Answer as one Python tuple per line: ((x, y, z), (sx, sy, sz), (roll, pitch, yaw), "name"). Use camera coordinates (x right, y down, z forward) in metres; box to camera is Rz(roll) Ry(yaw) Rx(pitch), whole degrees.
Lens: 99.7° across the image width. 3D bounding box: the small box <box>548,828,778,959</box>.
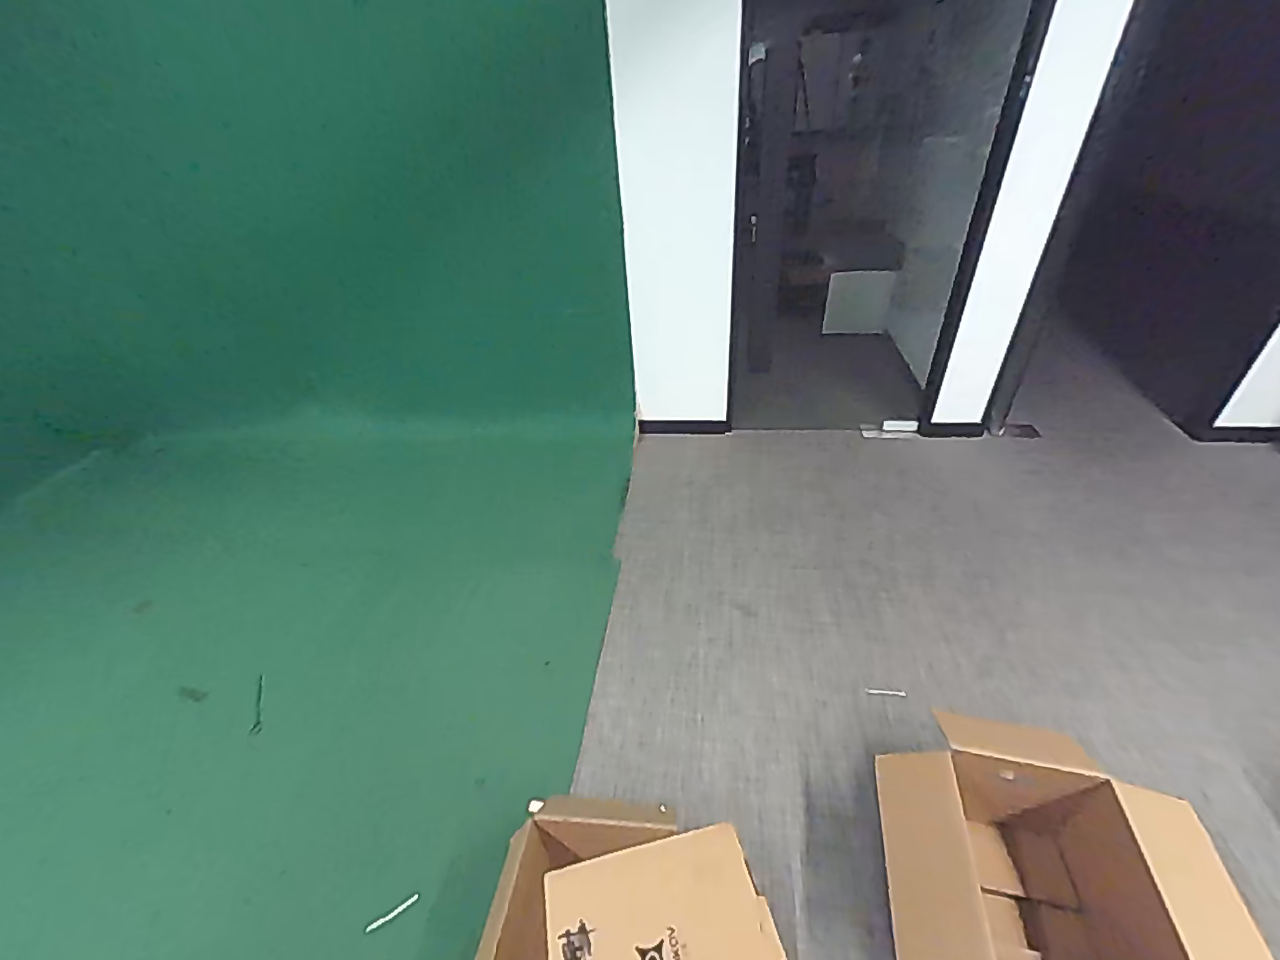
((0.021, 0.439, 0.457), (0.179, 0.176, 0.168), (-8, 29, -8), "small box")
